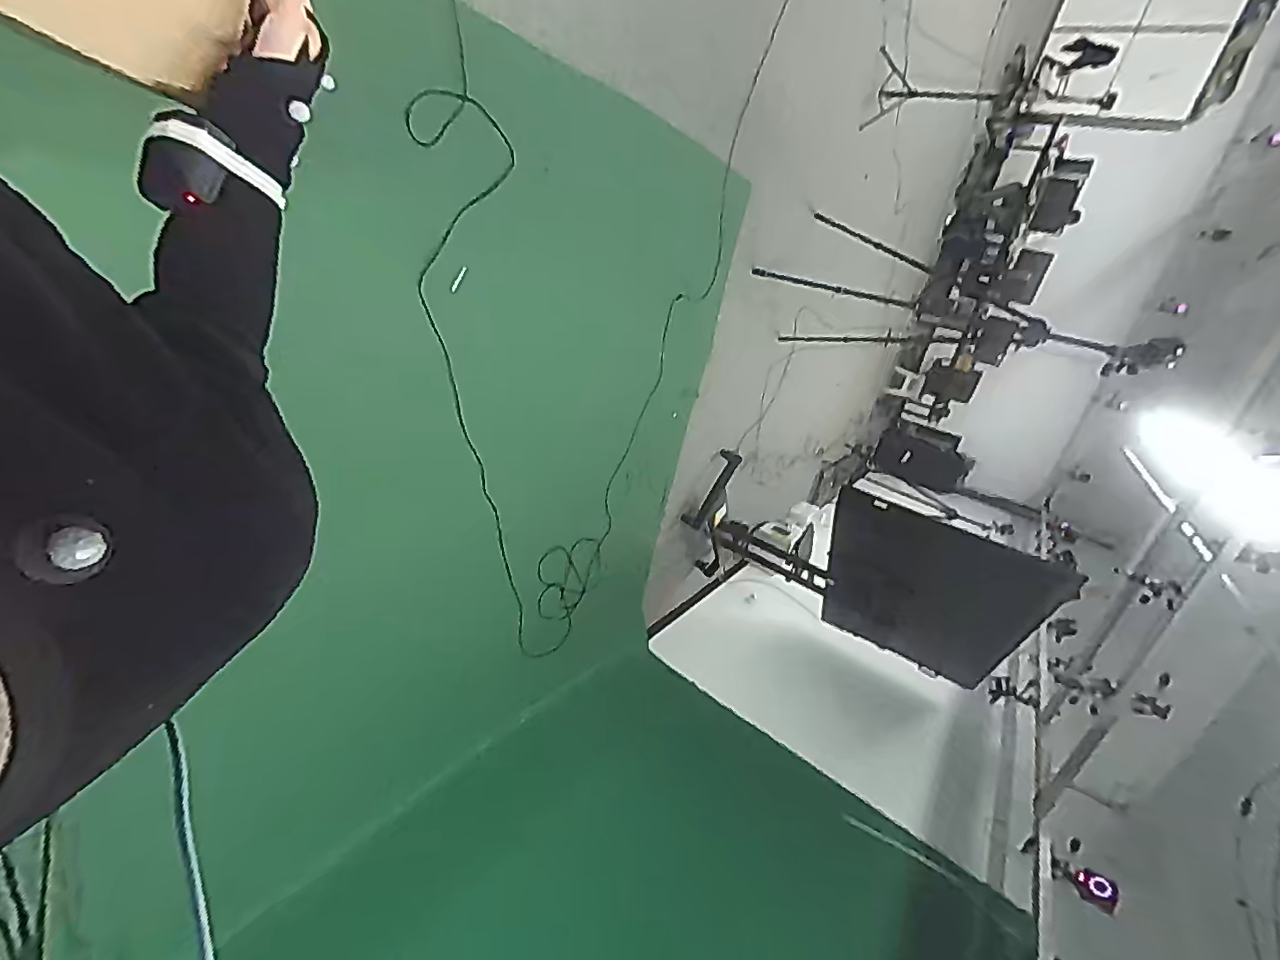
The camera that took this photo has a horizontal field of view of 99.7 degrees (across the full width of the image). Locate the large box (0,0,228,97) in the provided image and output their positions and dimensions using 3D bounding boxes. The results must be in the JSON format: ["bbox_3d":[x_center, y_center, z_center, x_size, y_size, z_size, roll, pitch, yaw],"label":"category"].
[{"bbox_3d":[-0.514,-0.518,0.305,0.408,0.320,0.320,-6,123,-63],"label":"large box"}]
